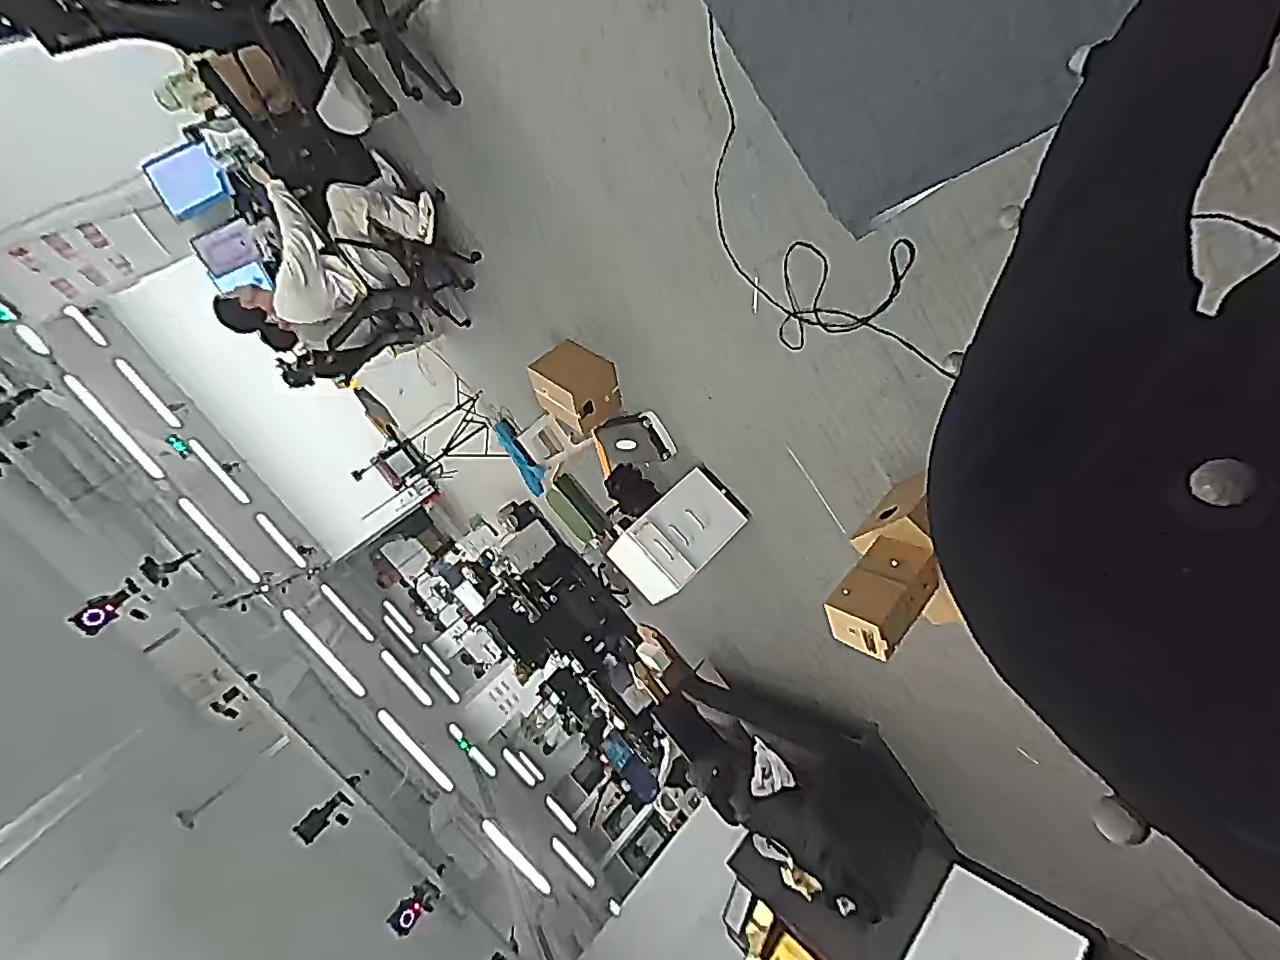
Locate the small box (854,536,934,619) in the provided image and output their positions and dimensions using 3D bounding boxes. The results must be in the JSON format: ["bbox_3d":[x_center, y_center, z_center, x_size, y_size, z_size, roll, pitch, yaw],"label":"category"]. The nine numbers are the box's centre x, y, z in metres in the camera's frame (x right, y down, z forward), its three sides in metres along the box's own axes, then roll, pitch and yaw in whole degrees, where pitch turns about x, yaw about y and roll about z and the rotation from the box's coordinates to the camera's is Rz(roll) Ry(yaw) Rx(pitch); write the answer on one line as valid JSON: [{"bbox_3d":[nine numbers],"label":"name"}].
[{"bbox_3d":[0.806,0.299,1.703,0.179,0.176,0.168,16,140,48],"label":"small box"}]
